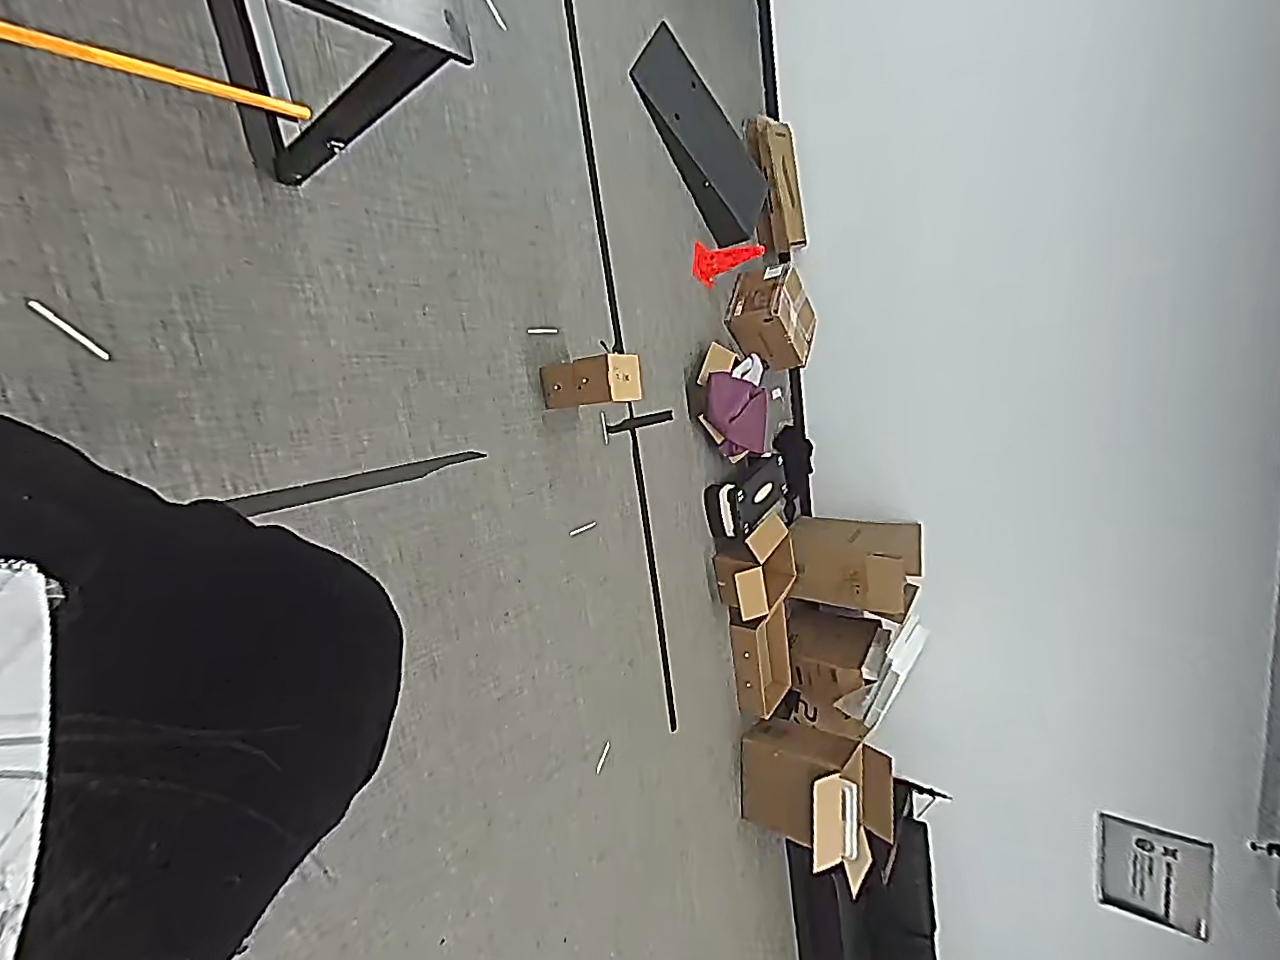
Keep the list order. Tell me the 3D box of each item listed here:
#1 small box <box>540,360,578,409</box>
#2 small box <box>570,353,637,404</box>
[{"bbox_3d":[-0.266,-0.370,2.068,0.179,0.176,0.168,-22,108,-50],"label":"small box"},{"bbox_3d":[-0.132,-0.368,1.969,0.179,0.176,0.168,-14,101,-51],"label":"small box"}]
